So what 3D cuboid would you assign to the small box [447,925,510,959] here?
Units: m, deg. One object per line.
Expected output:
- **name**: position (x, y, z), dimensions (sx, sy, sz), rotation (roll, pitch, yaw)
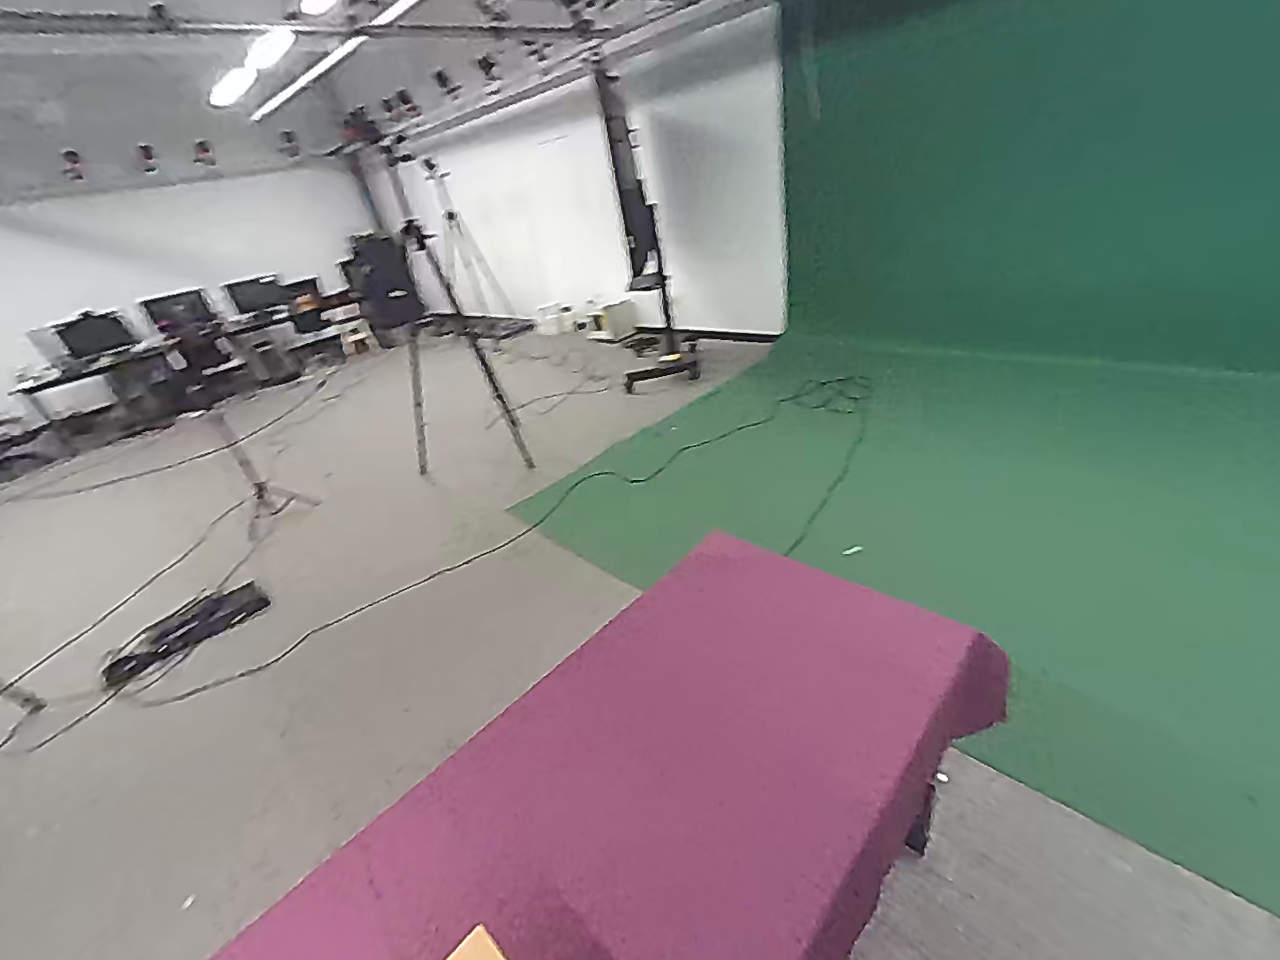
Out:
- **small box**: position (-0.152, 0.609, 0.528), dimensions (0.179, 0.176, 0.168), rotation (18, 41, 41)
